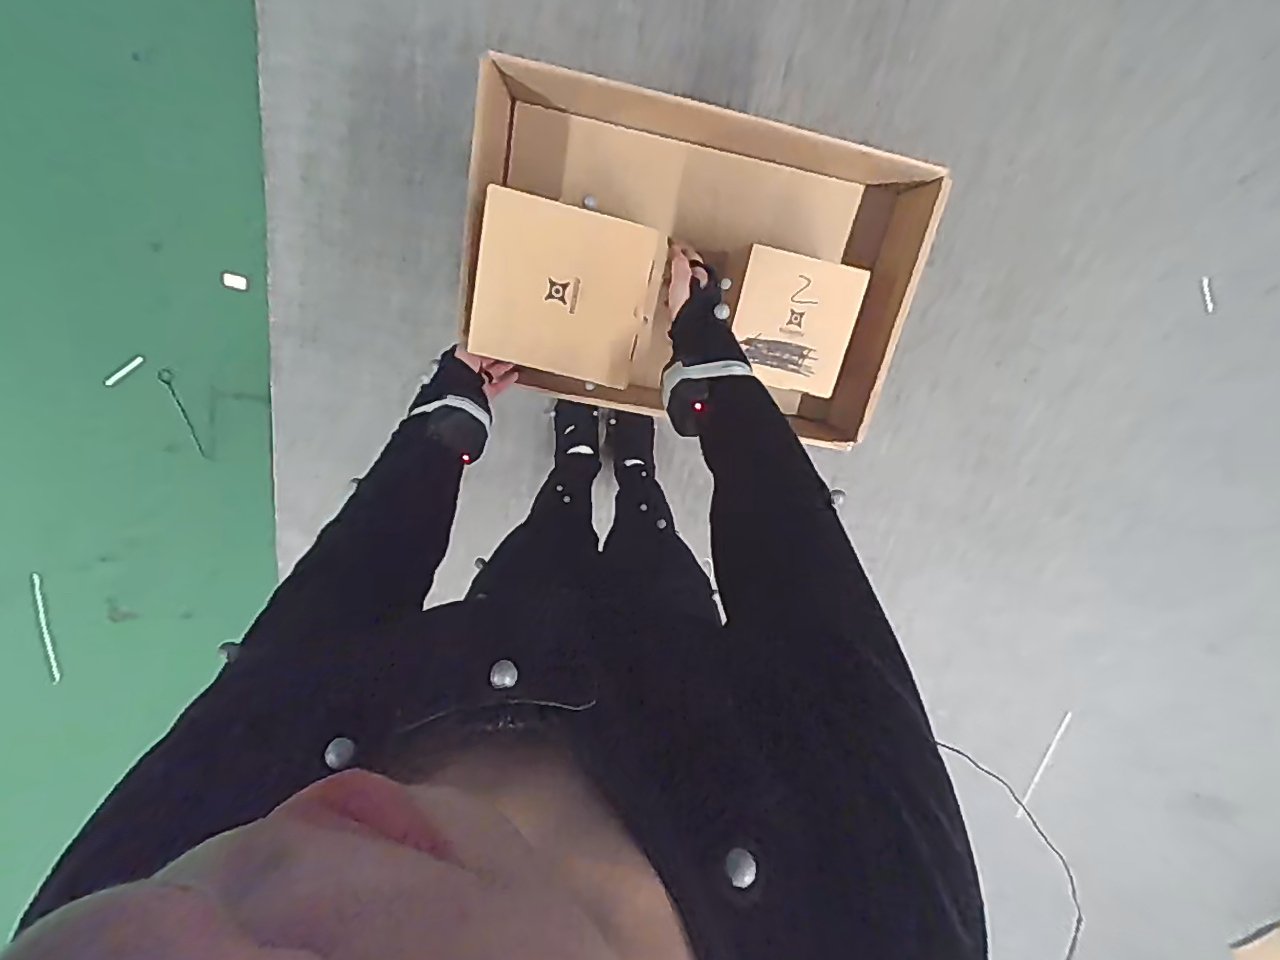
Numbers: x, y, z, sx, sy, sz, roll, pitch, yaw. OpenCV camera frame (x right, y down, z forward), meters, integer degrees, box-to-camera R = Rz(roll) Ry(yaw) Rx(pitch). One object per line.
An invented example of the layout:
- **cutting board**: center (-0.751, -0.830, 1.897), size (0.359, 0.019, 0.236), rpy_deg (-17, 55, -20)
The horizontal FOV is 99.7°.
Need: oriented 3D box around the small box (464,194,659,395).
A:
- **small box**: center (-0.087, -0.210, 0.632), size (0.179, 0.176, 0.168), rpy_deg (12, 108, -7)
